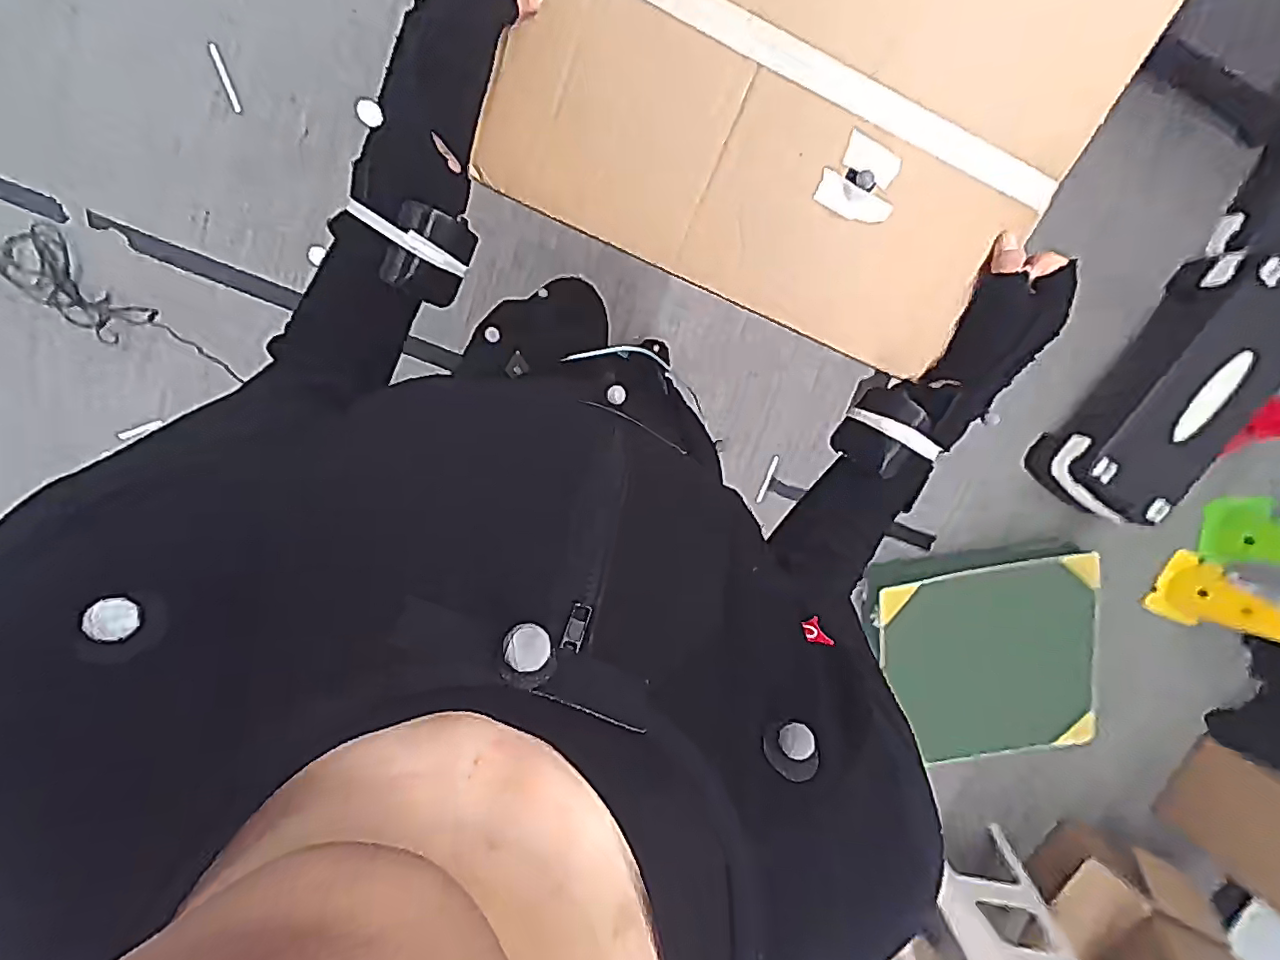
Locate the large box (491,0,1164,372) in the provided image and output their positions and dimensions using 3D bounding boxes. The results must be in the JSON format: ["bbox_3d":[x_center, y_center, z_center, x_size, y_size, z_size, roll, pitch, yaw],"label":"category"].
[{"bbox_3d":[0.122,-0.350,0.518,0.408,0.320,0.320,21,114,-10],"label":"large box"}]
